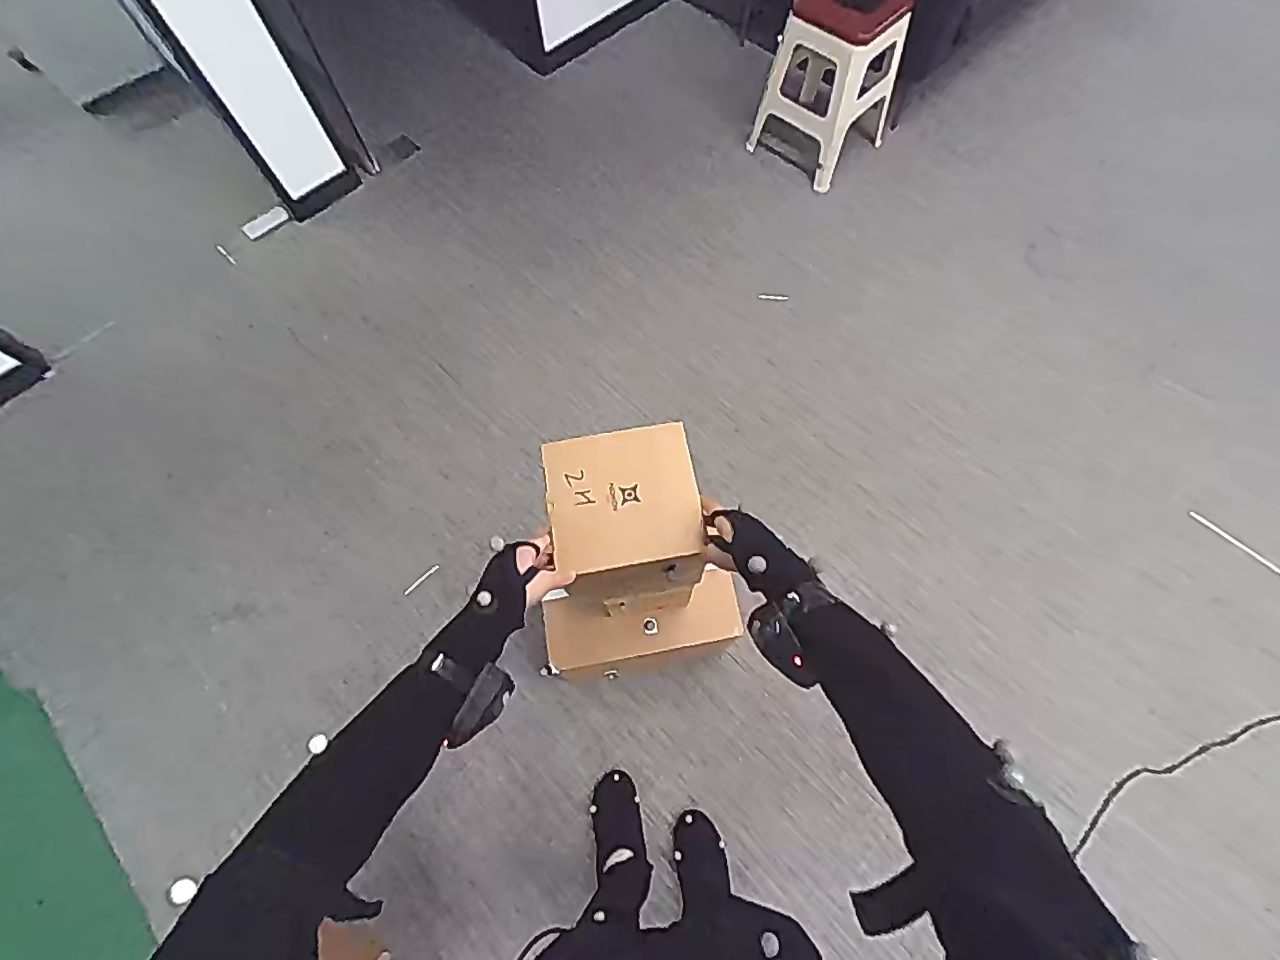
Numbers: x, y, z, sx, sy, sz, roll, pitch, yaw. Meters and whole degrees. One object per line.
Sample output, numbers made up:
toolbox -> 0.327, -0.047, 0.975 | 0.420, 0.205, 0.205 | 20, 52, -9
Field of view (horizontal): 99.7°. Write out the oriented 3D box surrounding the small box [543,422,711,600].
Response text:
small box -> -0.018, 0.047, 0.692 | 0.179, 0.176, 0.168 | -9, 66, -2

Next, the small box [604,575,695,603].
small box -> 0.001, 0.103, 0.921 | 0.168, 0.176, 0.179 | -9, 64, -3

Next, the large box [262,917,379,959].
large box -> -0.644, 1.107, 0.938 | 0.320, 0.320, 0.408 | 29, 71, 15
